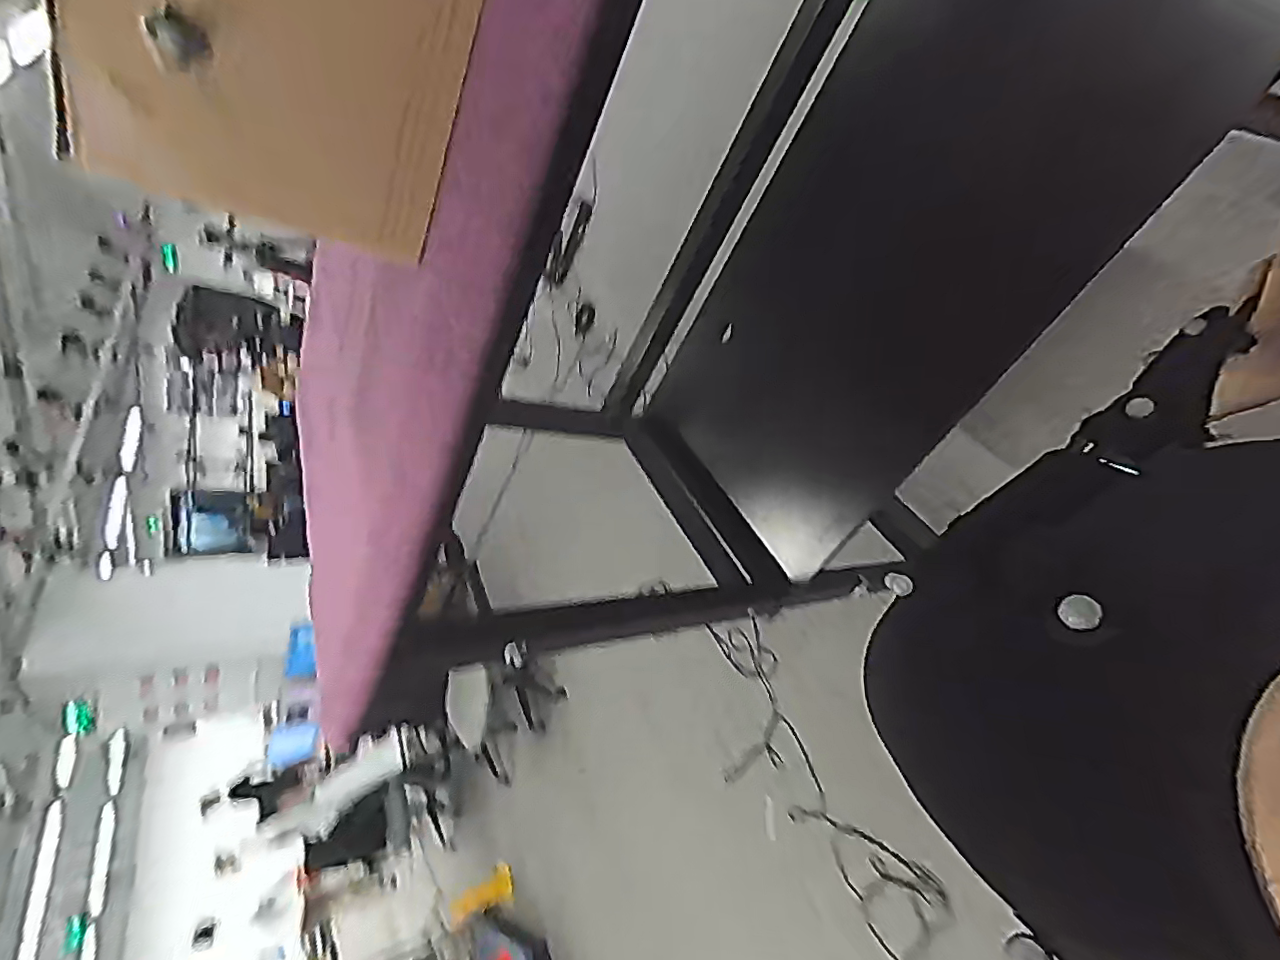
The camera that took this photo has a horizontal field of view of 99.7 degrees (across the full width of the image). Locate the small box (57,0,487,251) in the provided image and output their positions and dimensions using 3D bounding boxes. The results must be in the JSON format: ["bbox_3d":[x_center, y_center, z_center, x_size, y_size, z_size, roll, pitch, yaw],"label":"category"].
[{"bbox_3d":[-0.203,-0.265,0.316,0.179,0.176,0.168,-59,47,31],"label":"small box"}]
